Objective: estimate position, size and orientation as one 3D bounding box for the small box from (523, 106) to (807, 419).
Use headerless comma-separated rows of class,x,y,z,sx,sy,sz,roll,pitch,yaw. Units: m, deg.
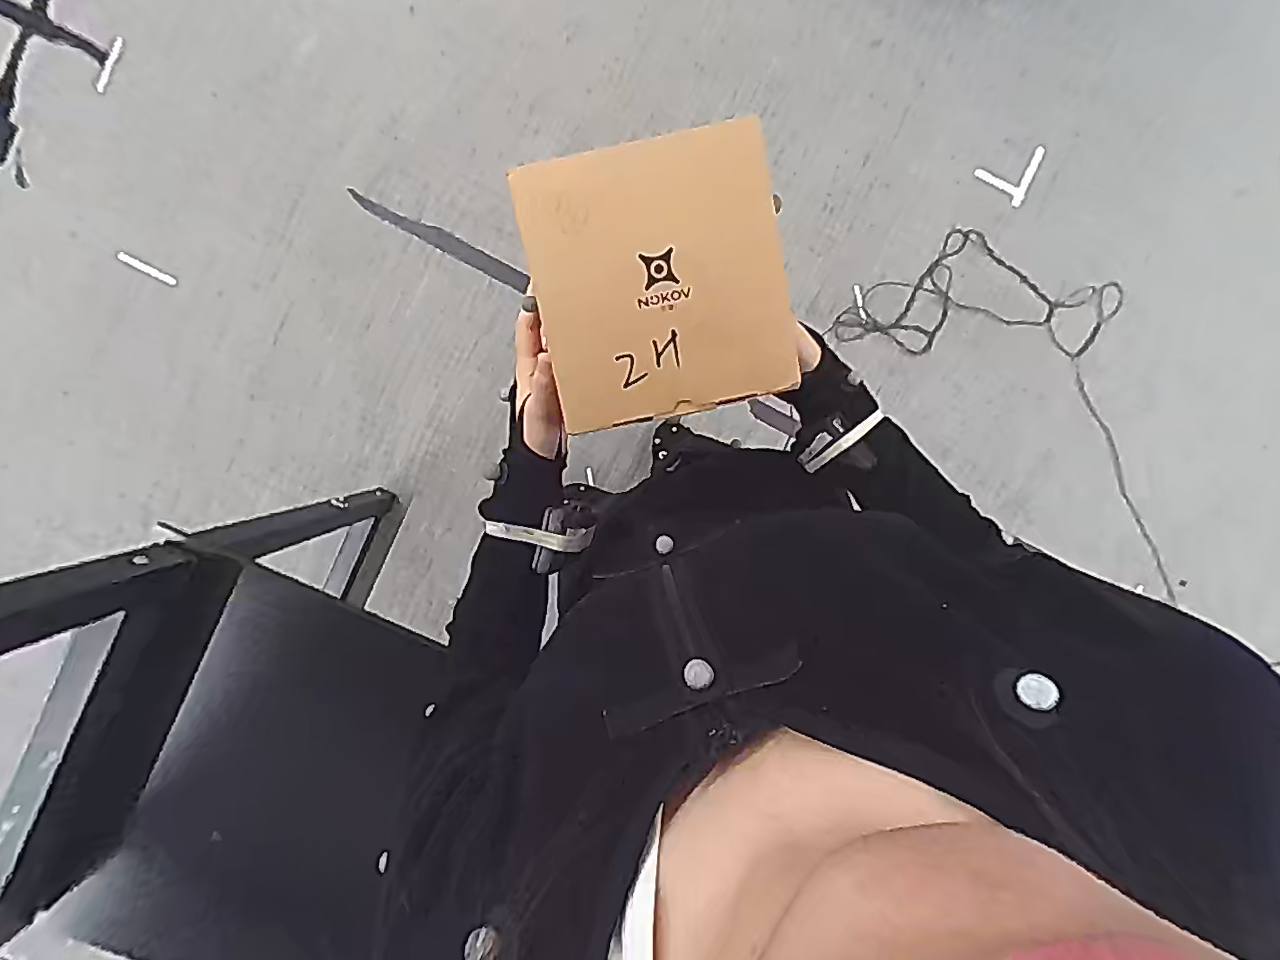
small box,0.017,-0.152,0.435,0.168,0.176,0.179,-11,101,1
